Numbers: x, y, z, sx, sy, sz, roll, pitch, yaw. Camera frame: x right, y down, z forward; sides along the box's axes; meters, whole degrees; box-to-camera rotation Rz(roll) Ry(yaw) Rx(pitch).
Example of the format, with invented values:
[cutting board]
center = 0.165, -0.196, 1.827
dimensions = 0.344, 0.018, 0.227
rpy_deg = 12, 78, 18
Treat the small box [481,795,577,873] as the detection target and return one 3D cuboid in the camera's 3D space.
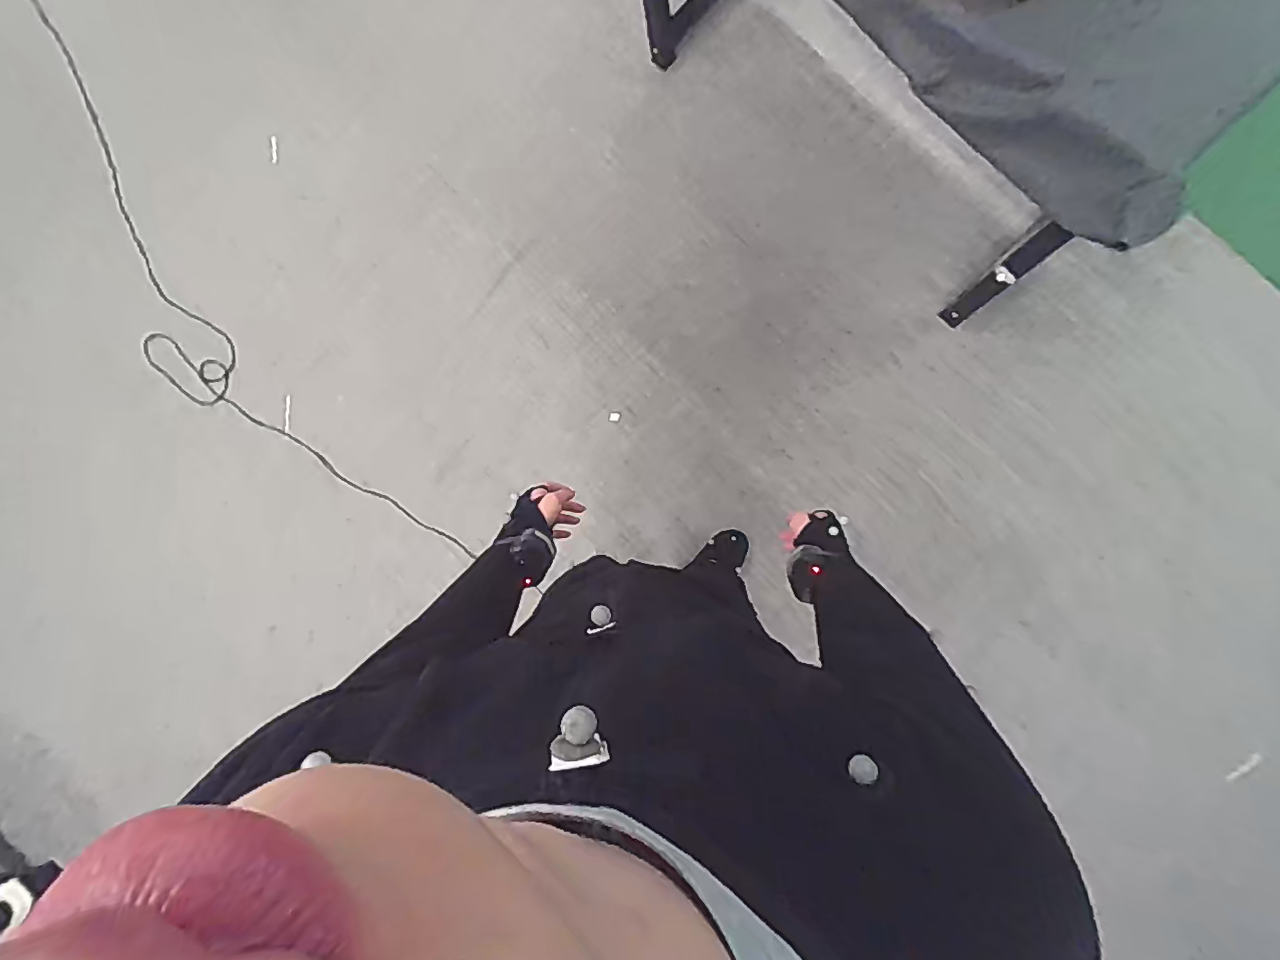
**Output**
[small box]
center = -0.299, 1.031, 1.498
dimensions = 0.168, 0.176, 0.179
rpy_deg = 45, 93, 6
